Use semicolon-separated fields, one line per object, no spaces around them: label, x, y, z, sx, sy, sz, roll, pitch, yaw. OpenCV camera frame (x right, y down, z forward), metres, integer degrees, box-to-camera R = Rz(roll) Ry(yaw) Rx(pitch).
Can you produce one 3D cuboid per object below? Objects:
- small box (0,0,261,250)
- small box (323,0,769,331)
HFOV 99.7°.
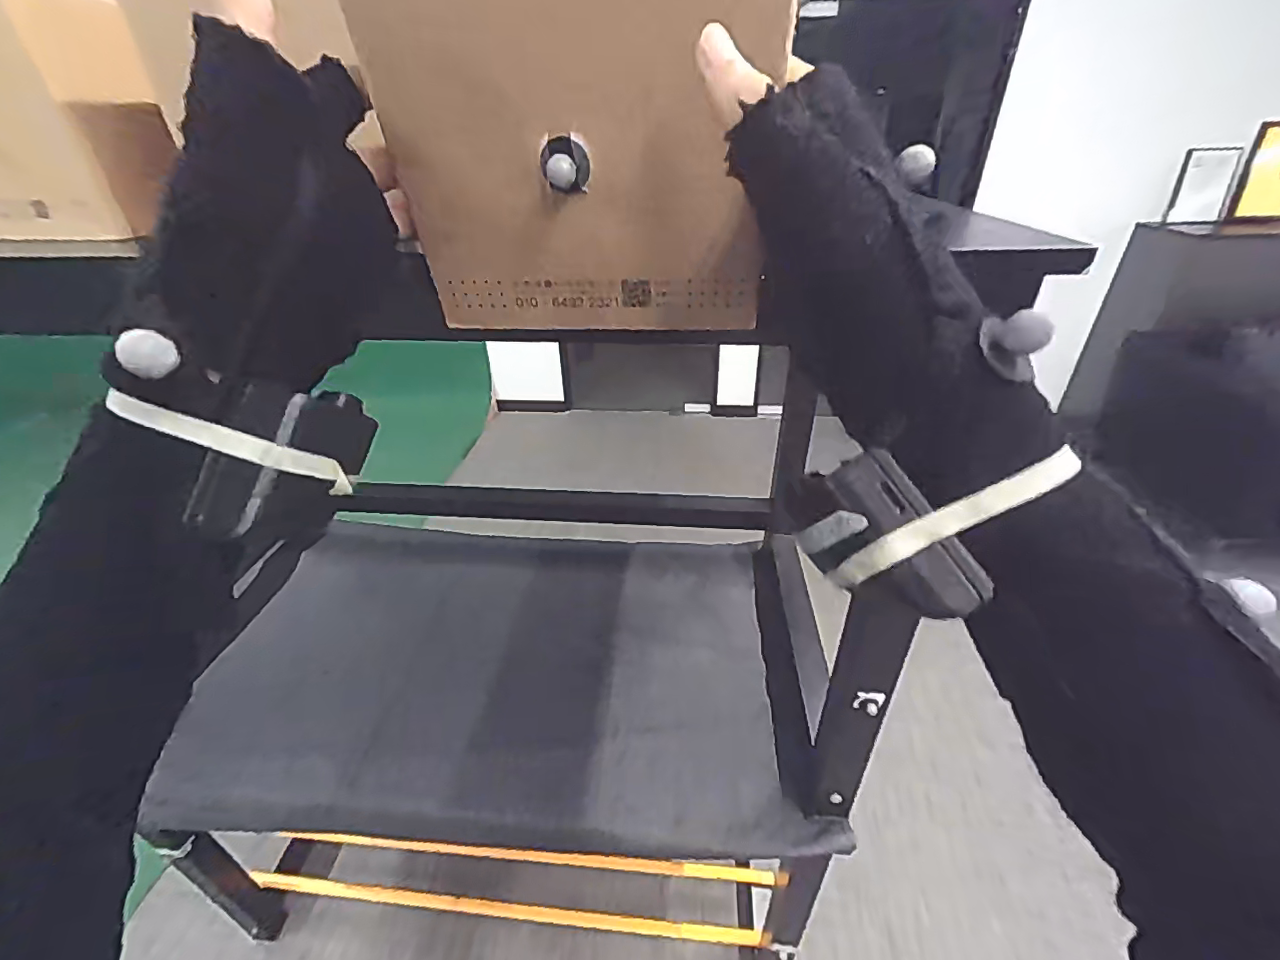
small box;-0.488;-0.305;0.477;0.168;0.176;0.179;2;32;7
small box;-0.023;-0.194;0.288;0.168;0.176;0.179;2;47;5
